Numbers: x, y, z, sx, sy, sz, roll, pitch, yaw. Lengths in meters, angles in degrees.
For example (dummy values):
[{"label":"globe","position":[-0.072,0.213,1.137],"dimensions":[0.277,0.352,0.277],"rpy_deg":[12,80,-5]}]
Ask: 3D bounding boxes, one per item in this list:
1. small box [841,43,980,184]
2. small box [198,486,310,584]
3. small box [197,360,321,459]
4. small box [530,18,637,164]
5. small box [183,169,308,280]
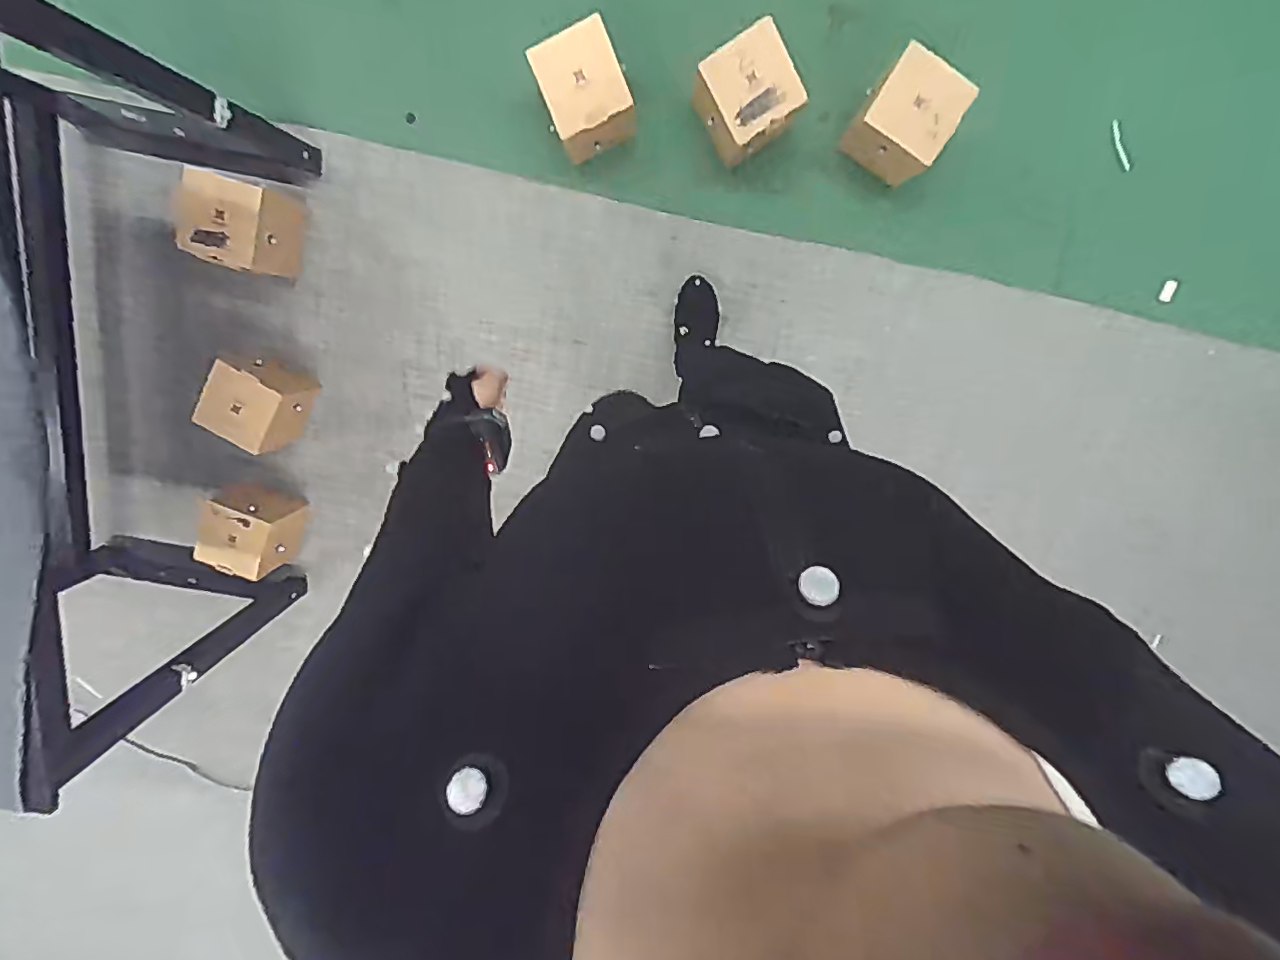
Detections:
[{"label":"small box","position":[0.573,-0.778,1.173],"dimensions":[0.179,0.176,0.168],"rpy_deg":[30,104,-8]},{"label":"small box","position":[-1.019,0.141,1.440],"dimensions":[0.168,0.176,0.179],"rpy_deg":[23,105,-6]},{"label":"small box","position":[-0.938,-0.184,1.349],"dimensions":[0.168,0.176,0.179],"rpy_deg":[31,105,-7]},{"label":"small box","position":[-0.116,-0.824,1.167],"dimensions":[0.168,0.176,0.179],"rpy_deg":[-23,105,6]},{"label":"small box","position":[-0.895,-0.573,1.239],"dimensions":[0.168,0.176,0.179],"rpy_deg":[16,104,-5]}]
